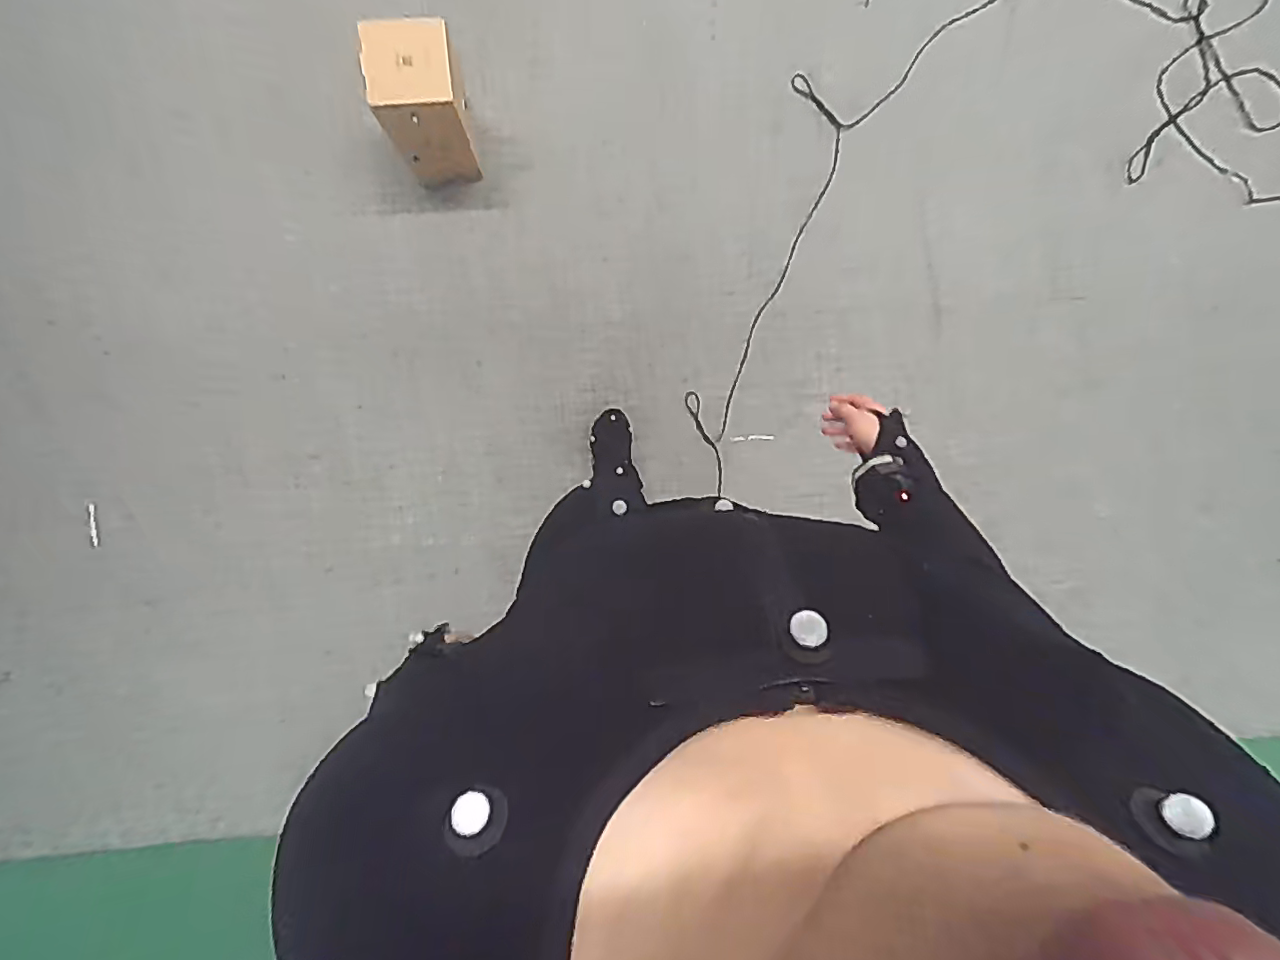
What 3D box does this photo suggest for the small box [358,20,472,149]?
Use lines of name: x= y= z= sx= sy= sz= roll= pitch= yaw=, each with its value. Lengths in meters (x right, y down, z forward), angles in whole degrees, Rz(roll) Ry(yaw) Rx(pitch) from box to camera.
small box: x=-0.481 y=-0.850 z=1.177 sx=0.179 sy=0.176 sz=0.168 roll=-6 pitch=93 yaw=-4
